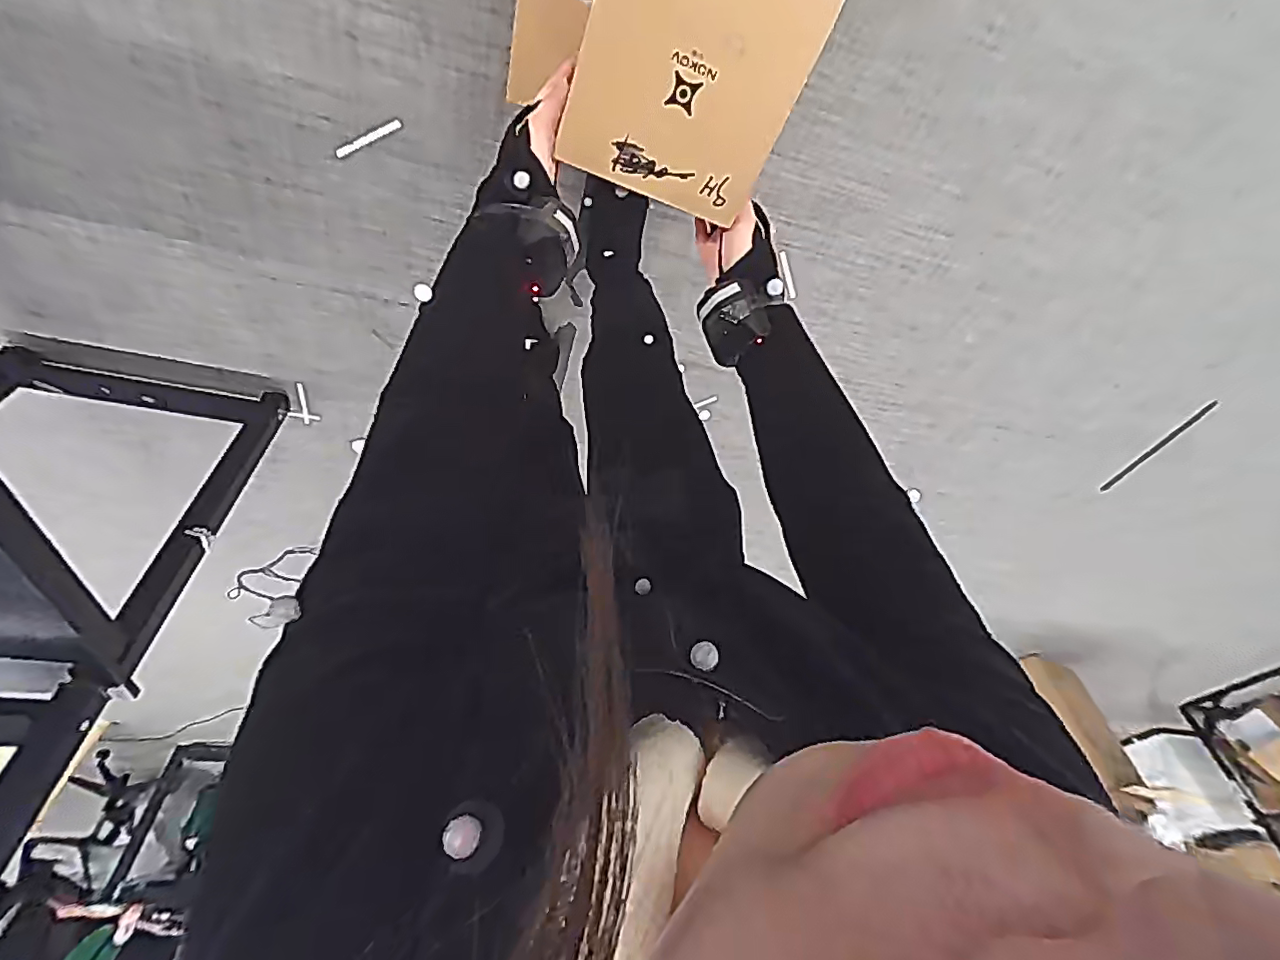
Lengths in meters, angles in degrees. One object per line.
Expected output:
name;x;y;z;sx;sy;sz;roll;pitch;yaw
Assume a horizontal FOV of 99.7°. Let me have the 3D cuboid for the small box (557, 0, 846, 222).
small box;0.035;-0.359;0.451;0.168;0.176;0.179;14;133;-18
